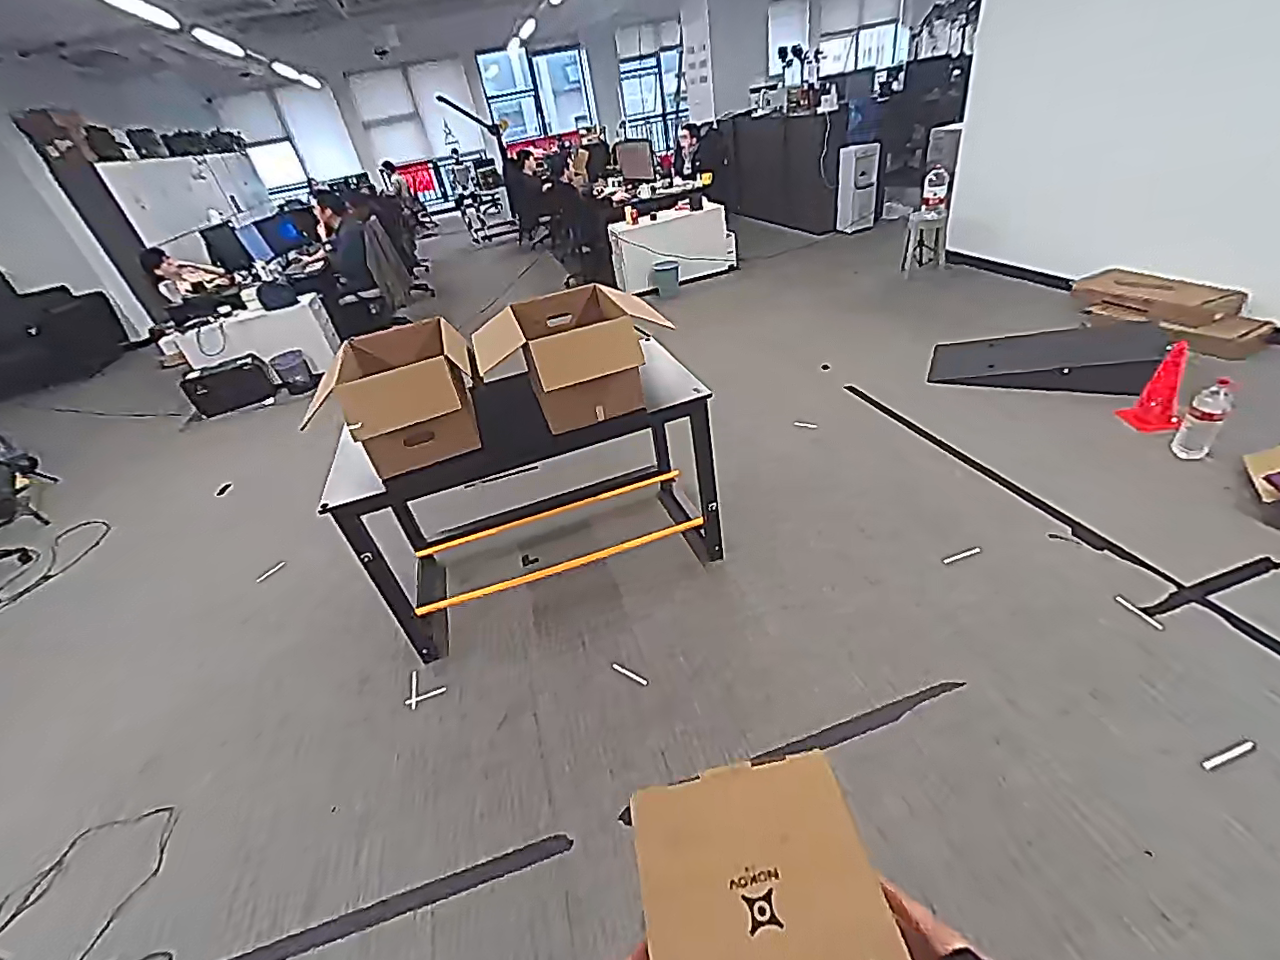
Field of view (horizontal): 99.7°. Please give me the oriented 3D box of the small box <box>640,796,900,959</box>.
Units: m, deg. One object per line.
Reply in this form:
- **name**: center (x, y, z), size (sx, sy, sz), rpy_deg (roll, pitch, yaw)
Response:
- **small box**: center (0.100, 0.383, 0.413), size (0.168, 0.176, 0.179), rpy_deg (-12, 37, -1)
